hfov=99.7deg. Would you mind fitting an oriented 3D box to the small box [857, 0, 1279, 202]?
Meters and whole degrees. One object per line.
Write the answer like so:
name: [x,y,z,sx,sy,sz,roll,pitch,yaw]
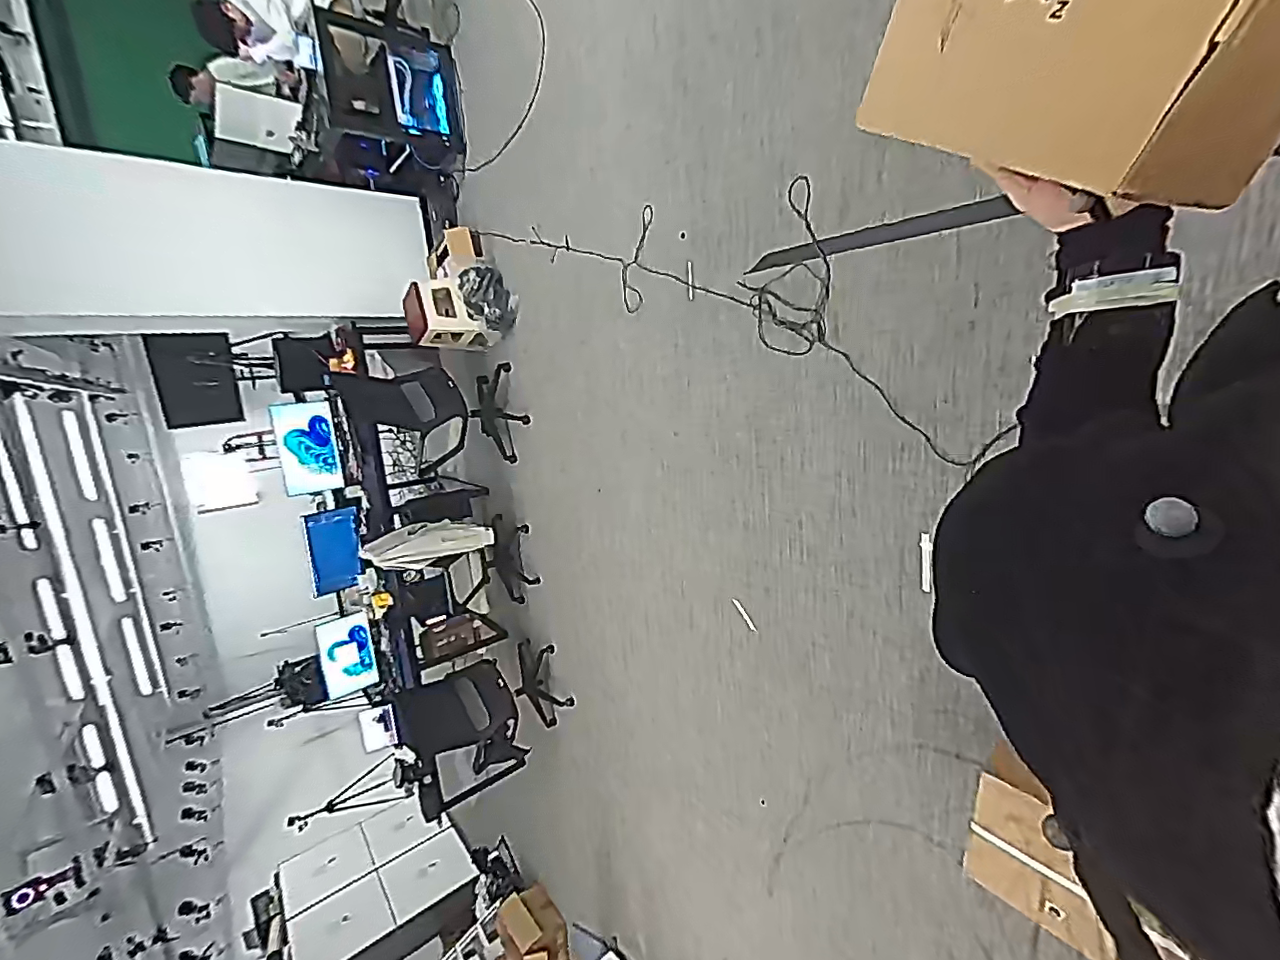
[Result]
small box: [0.273,-0.269,0.309,0.179,0.176,0.168,51,142,40]
